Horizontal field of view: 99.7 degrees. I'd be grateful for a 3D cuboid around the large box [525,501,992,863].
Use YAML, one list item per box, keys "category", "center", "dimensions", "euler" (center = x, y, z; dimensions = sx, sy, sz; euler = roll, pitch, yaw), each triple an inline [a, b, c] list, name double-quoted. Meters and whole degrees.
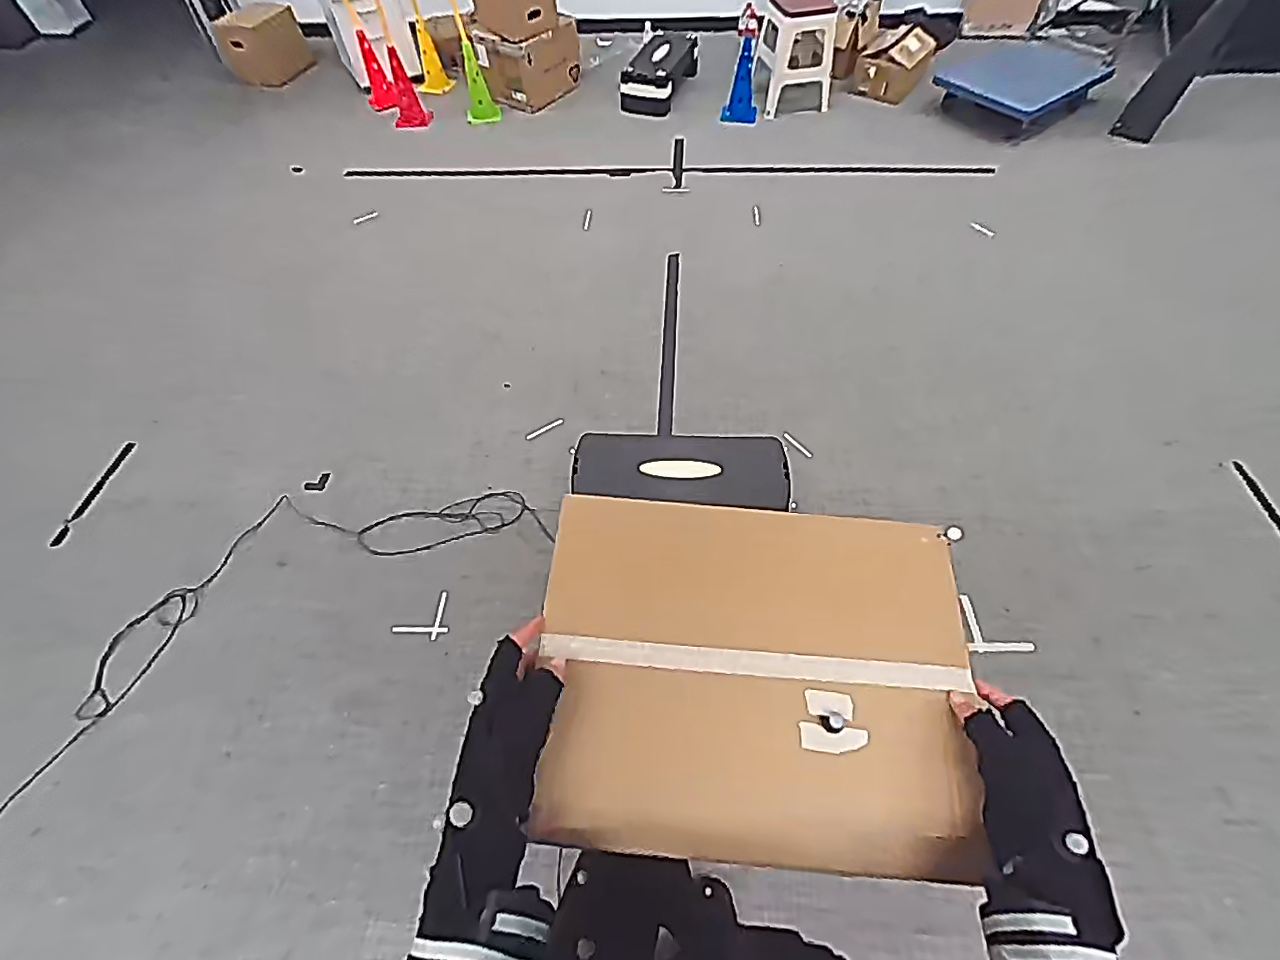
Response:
- category: "large box"
  center: [0.102, 0.238, 0.651]
  dimensions: [0.408, 0.320, 0.320]
  euler: [4, 65, 0]
